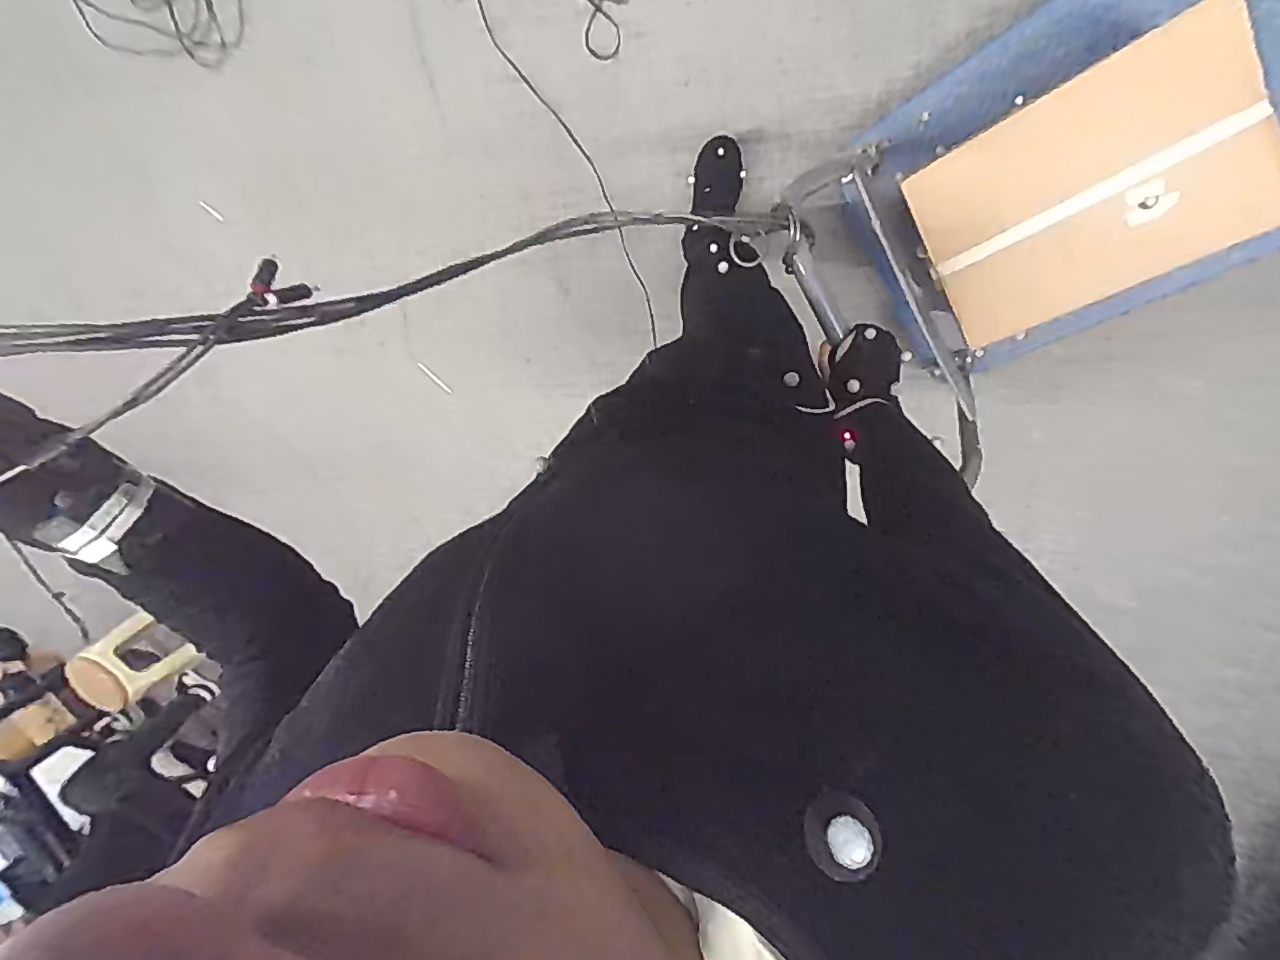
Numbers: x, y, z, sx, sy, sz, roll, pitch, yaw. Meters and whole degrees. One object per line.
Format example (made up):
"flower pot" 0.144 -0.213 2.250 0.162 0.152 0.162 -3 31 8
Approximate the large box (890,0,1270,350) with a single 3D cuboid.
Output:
"large box" 0.702 -0.483 0.944 0.408 0.320 0.320 -22 106 31
